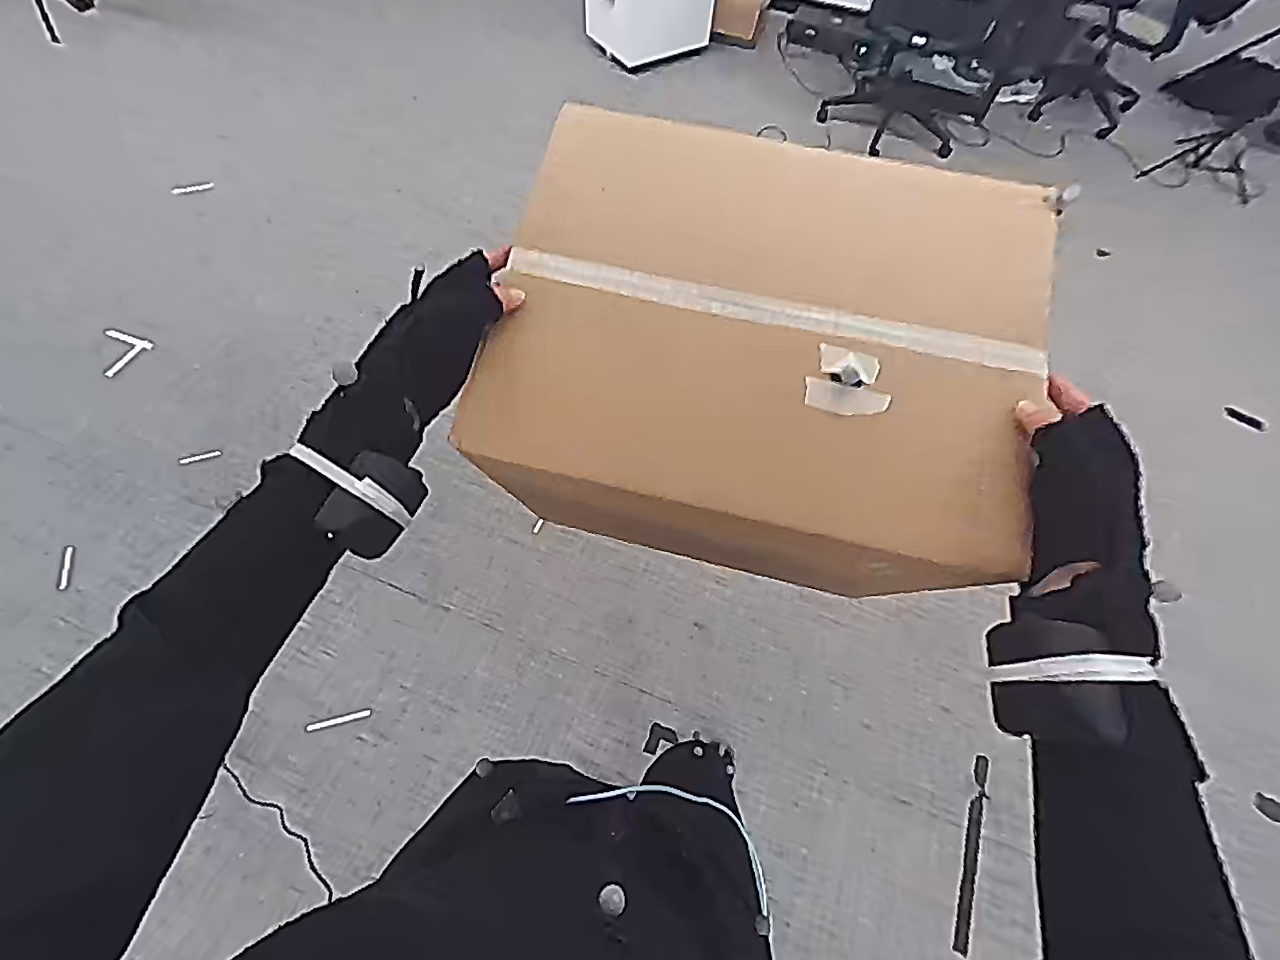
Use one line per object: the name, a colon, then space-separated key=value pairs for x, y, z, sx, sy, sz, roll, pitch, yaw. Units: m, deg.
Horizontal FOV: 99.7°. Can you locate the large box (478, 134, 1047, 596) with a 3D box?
large box: x=0.106 y=-0.080 z=0.565 sx=0.408 sy=0.320 sz=0.320 roll=14 pitch=78 yaw=4
